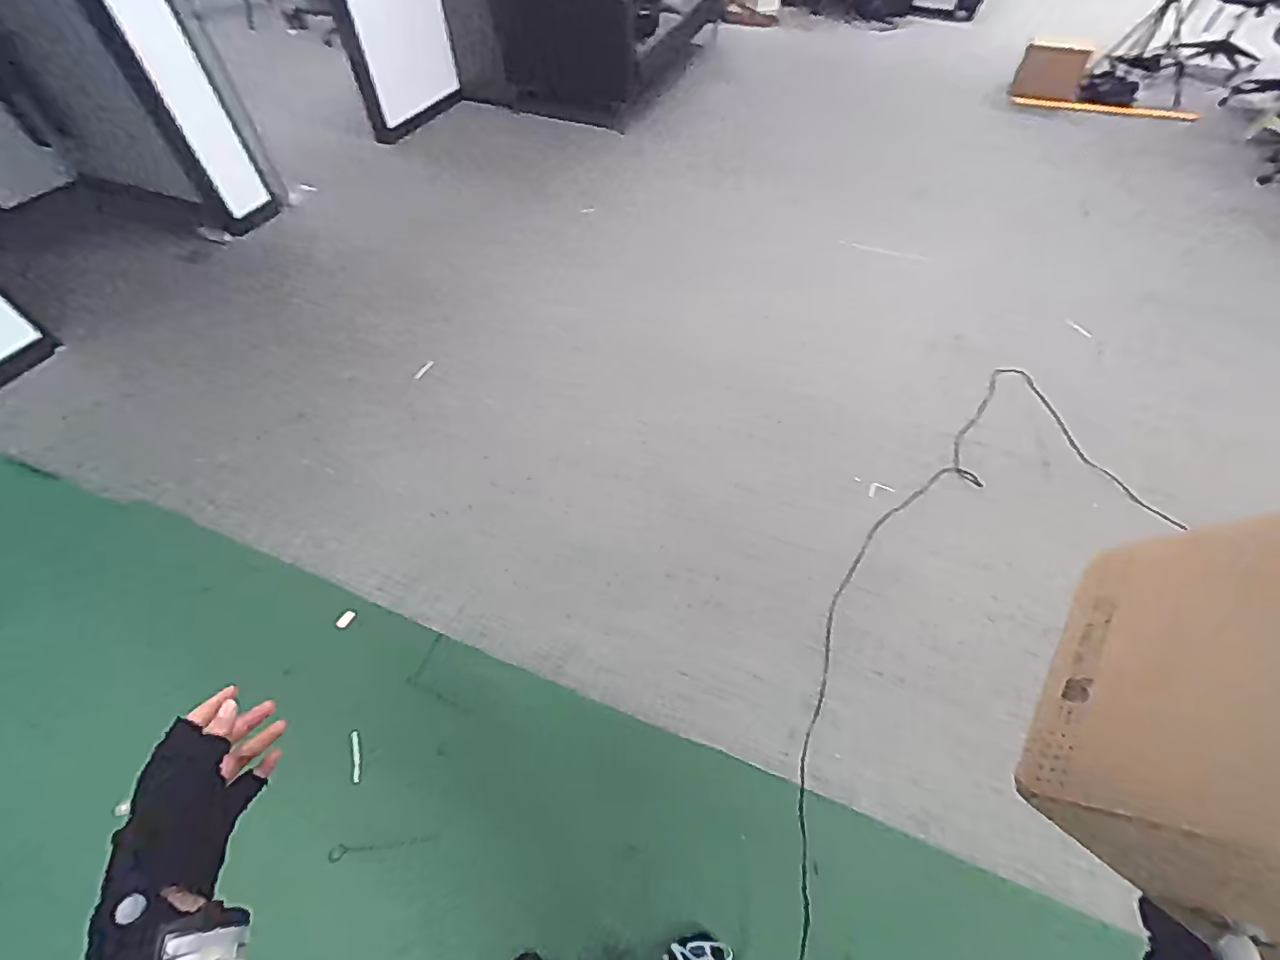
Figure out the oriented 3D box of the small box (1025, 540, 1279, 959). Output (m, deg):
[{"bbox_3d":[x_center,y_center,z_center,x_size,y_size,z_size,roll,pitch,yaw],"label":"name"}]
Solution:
[{"bbox_3d":[0.327,0.133,0.235,0.179,0.176,0.168,40,67,1],"label":"small box"}]
